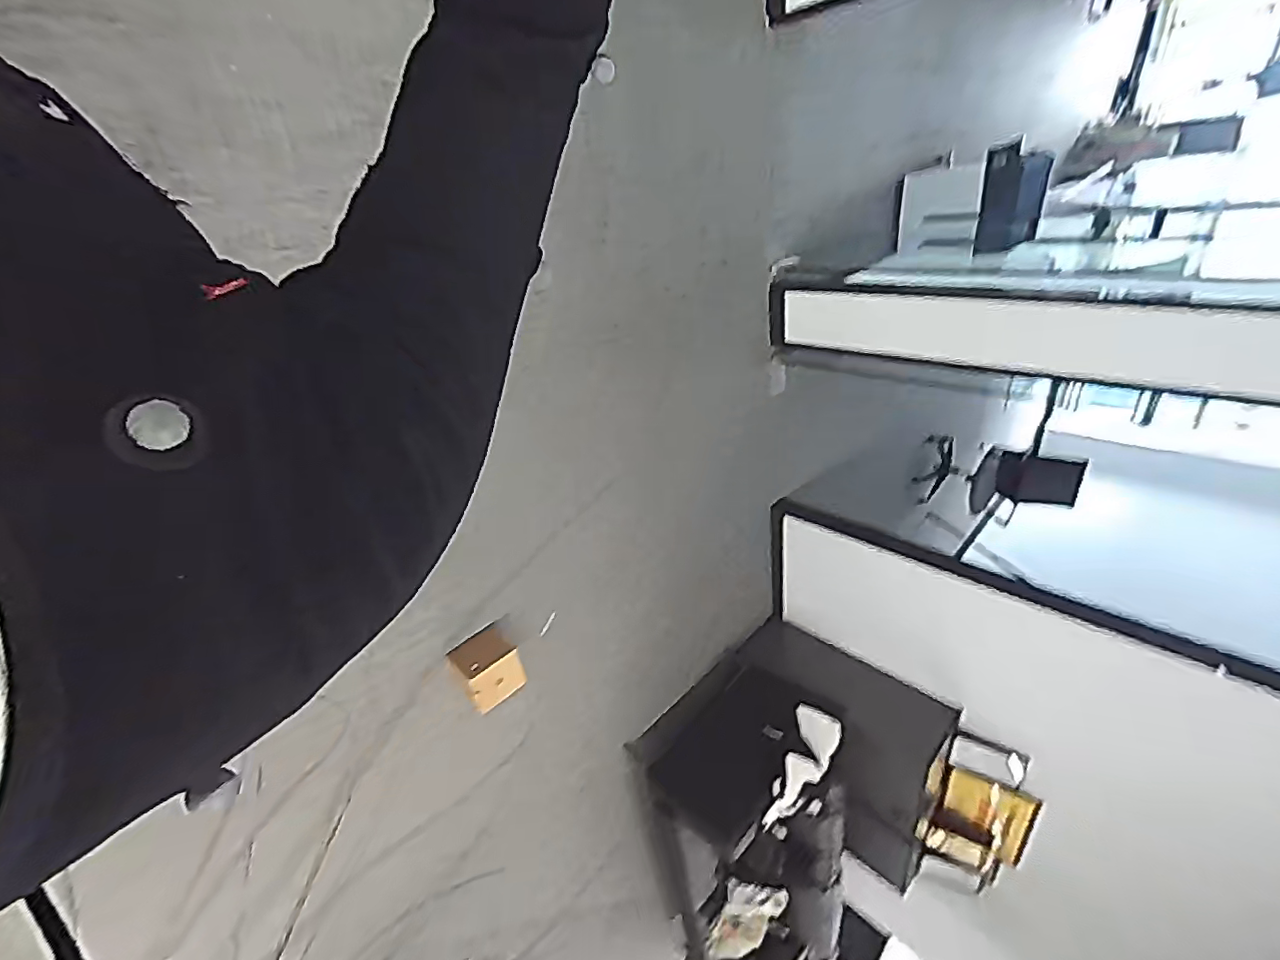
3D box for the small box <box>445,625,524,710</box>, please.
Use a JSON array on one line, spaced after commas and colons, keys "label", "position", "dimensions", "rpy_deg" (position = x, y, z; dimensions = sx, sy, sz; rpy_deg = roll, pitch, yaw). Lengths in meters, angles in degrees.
[{"label": "small box", "position": [-0.526, 0.626, 1.829], "dimensions": [0.179, 0.176, 0.168], "rpy_deg": [-30, 126, -34]}]
